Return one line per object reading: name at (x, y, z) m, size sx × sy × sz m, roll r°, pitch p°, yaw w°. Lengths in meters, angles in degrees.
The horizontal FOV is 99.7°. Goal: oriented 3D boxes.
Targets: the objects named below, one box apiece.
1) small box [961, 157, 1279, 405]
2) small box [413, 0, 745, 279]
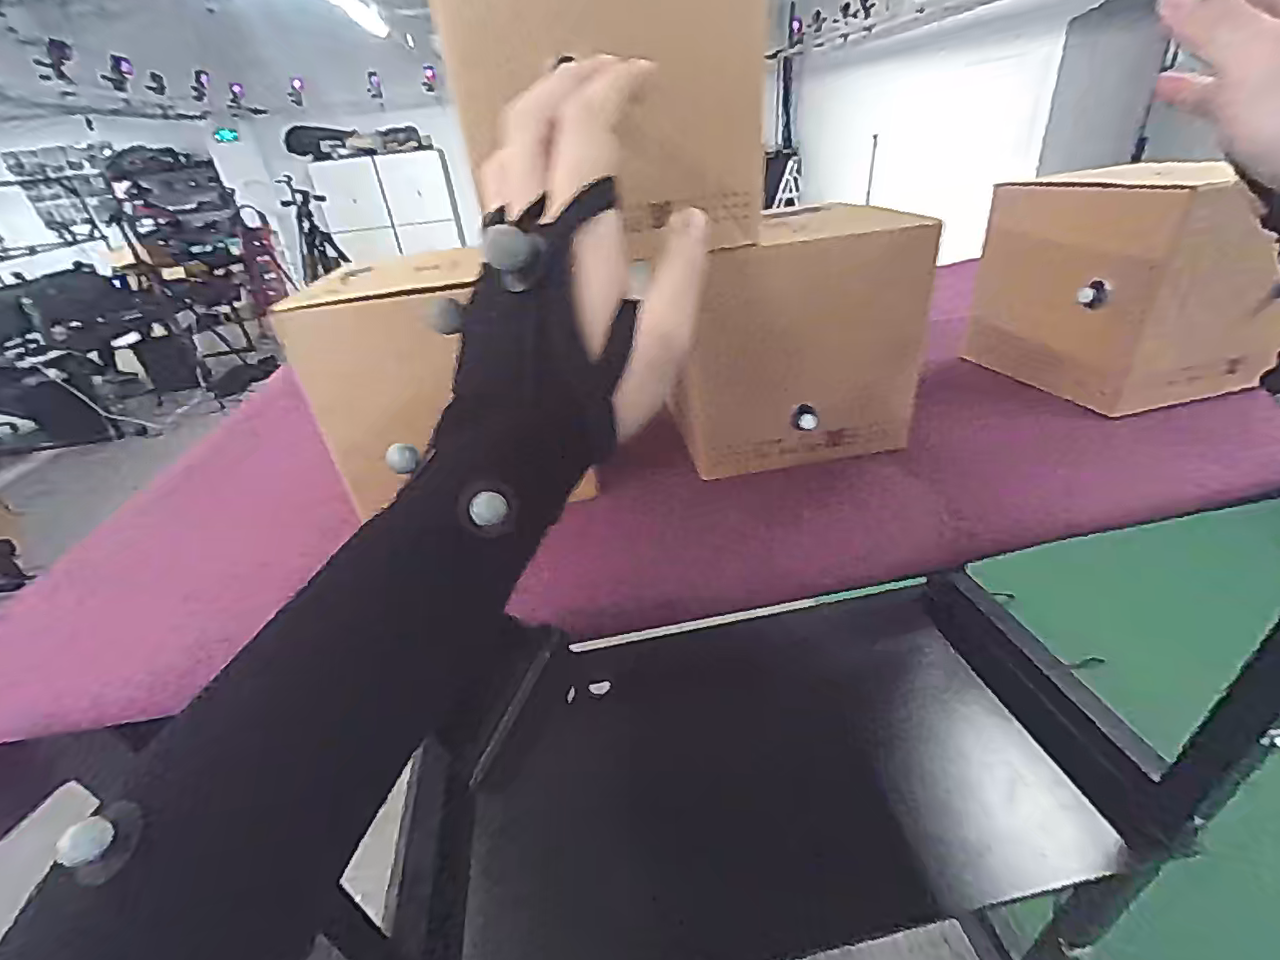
small box at (0.423, -0.173, 0.473) m, size 0.168 × 0.176 × 0.179 m, roll -11°, pitch 30°, yaw -7°
small box at (-0.031, -0.240, 0.360) m, size 0.168 × 0.176 × 0.179 m, roll -9°, pitch 31°, yaw -3°
